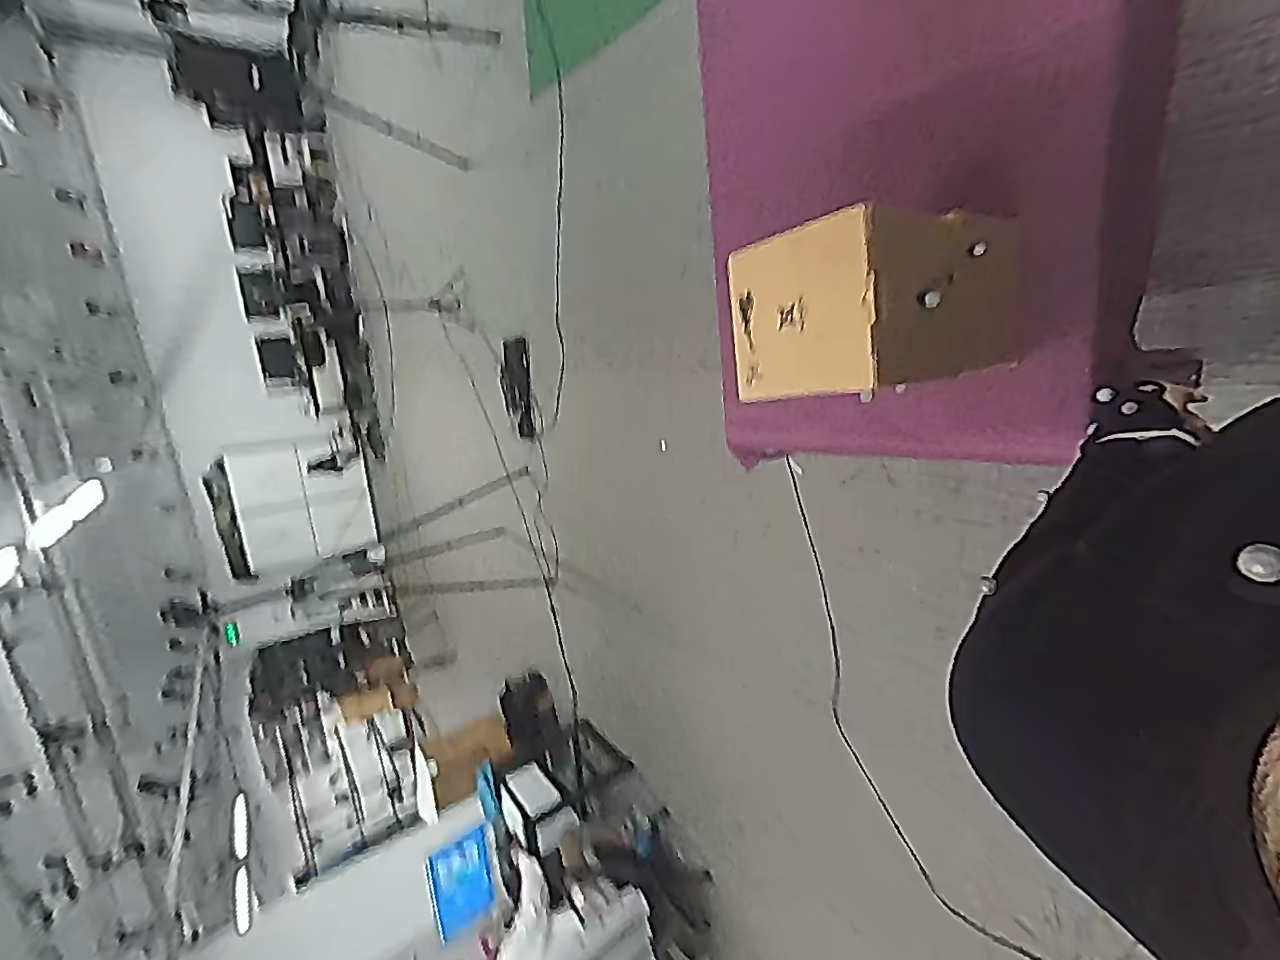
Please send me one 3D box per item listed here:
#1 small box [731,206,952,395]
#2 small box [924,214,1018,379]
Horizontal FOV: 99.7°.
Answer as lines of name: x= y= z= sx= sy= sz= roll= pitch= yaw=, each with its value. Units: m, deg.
small box: x=0.228 y=-0.189 z=0.610 sx=0.179 sy=0.176 sz=0.168 roll=6 pitch=105 yaw=54
small box: x=0.362 y=-0.222 z=0.698 sx=0.168 sy=0.176 sz=0.179 roll=7 pitch=105 yaw=55
